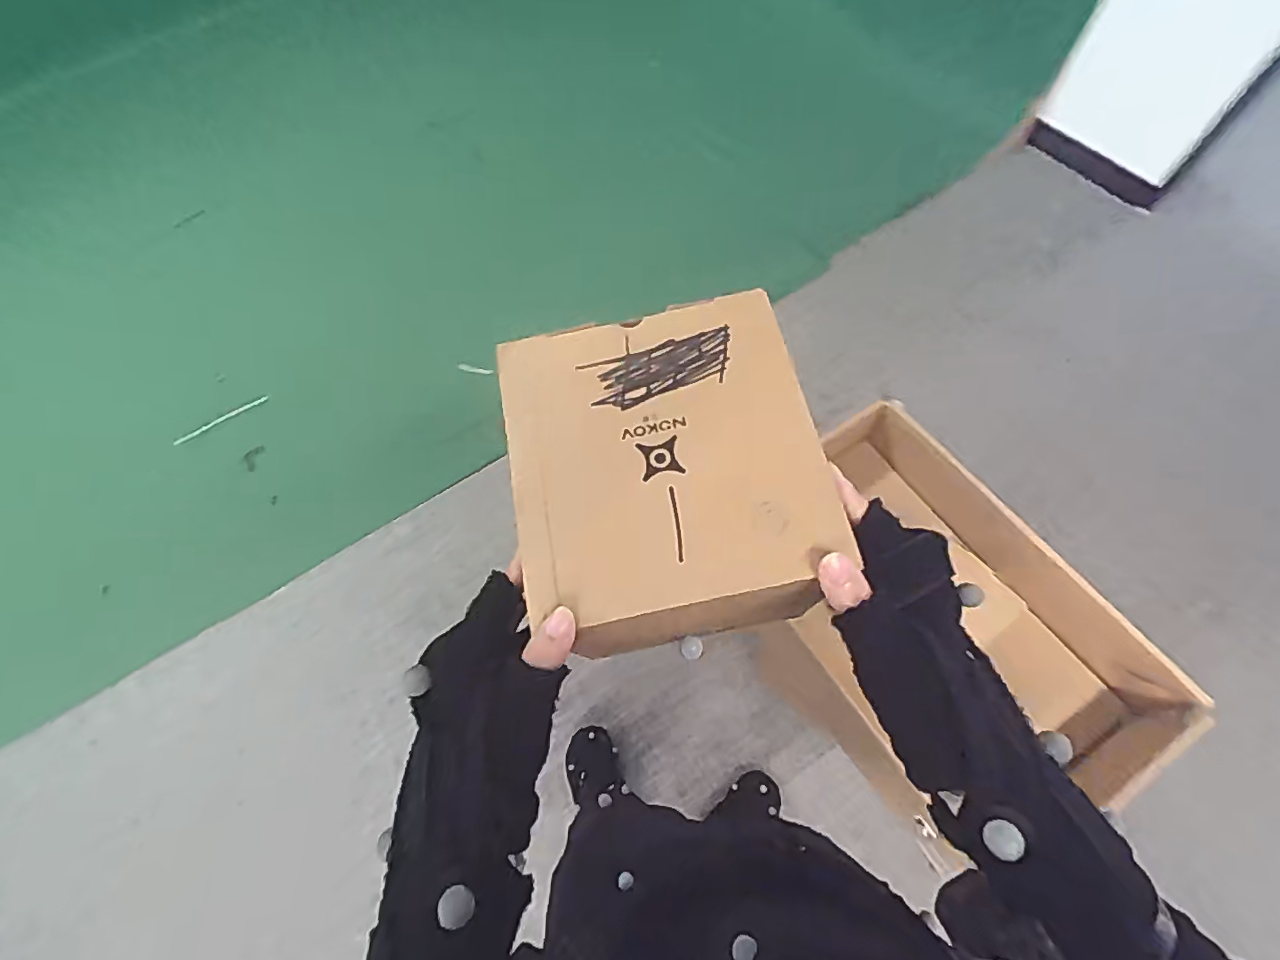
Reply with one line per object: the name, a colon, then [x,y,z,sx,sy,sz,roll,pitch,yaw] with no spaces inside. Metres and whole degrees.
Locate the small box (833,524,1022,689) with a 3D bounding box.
small box: [0.433,0.204,0.850,0.179,0.176,0.168,-35,66,-11]

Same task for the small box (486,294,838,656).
small box: [0.008,0.011,0.369,0.168,0.176,0.179,-13,68,1]
